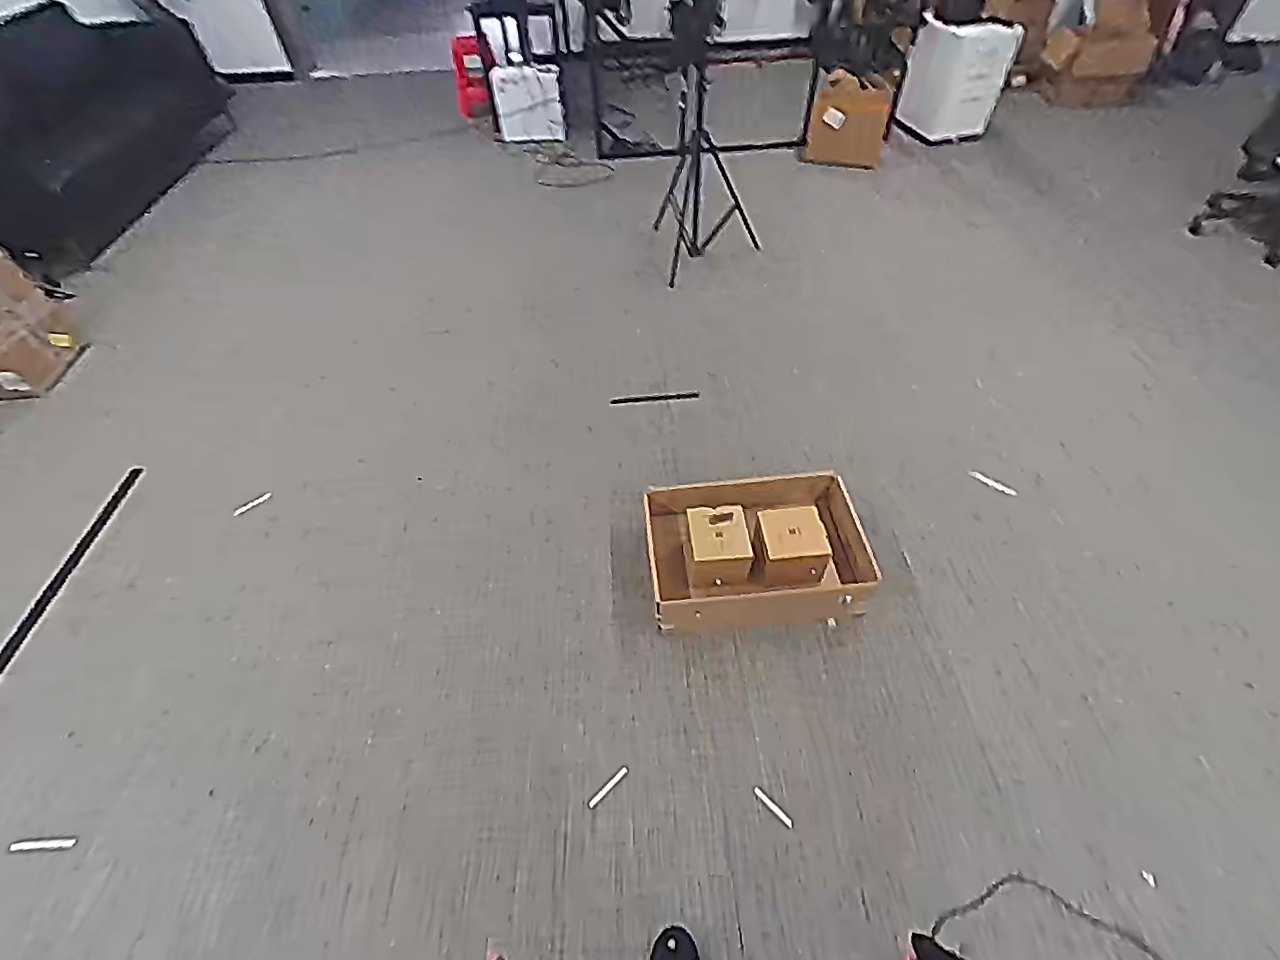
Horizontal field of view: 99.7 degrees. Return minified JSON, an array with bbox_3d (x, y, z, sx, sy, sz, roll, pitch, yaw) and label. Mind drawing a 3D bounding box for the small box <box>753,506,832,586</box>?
[{"bbox_3d":[0.441,0.197,1.593,0.179,0.176,0.168,-6,51,0],"label":"small box"}]
